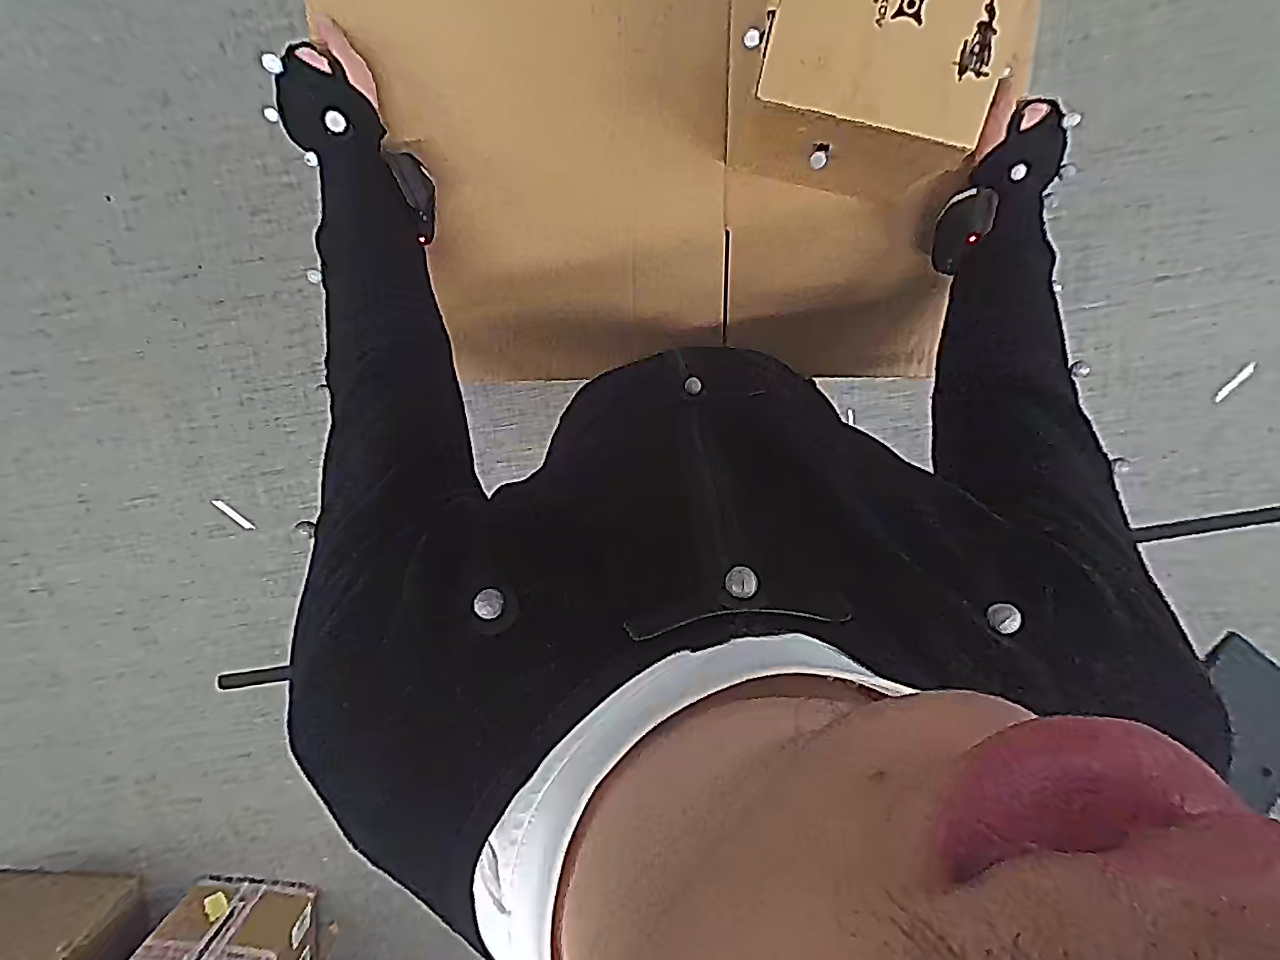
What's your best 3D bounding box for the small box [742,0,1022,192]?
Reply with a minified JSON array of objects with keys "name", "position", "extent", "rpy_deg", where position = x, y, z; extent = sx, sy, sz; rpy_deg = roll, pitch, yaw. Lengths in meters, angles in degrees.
[{"name":"small box","position":[0.197,-0.375,0.475],"extent":[0.179,0.176,0.168],"rpy_deg":[13,105,1]}]
